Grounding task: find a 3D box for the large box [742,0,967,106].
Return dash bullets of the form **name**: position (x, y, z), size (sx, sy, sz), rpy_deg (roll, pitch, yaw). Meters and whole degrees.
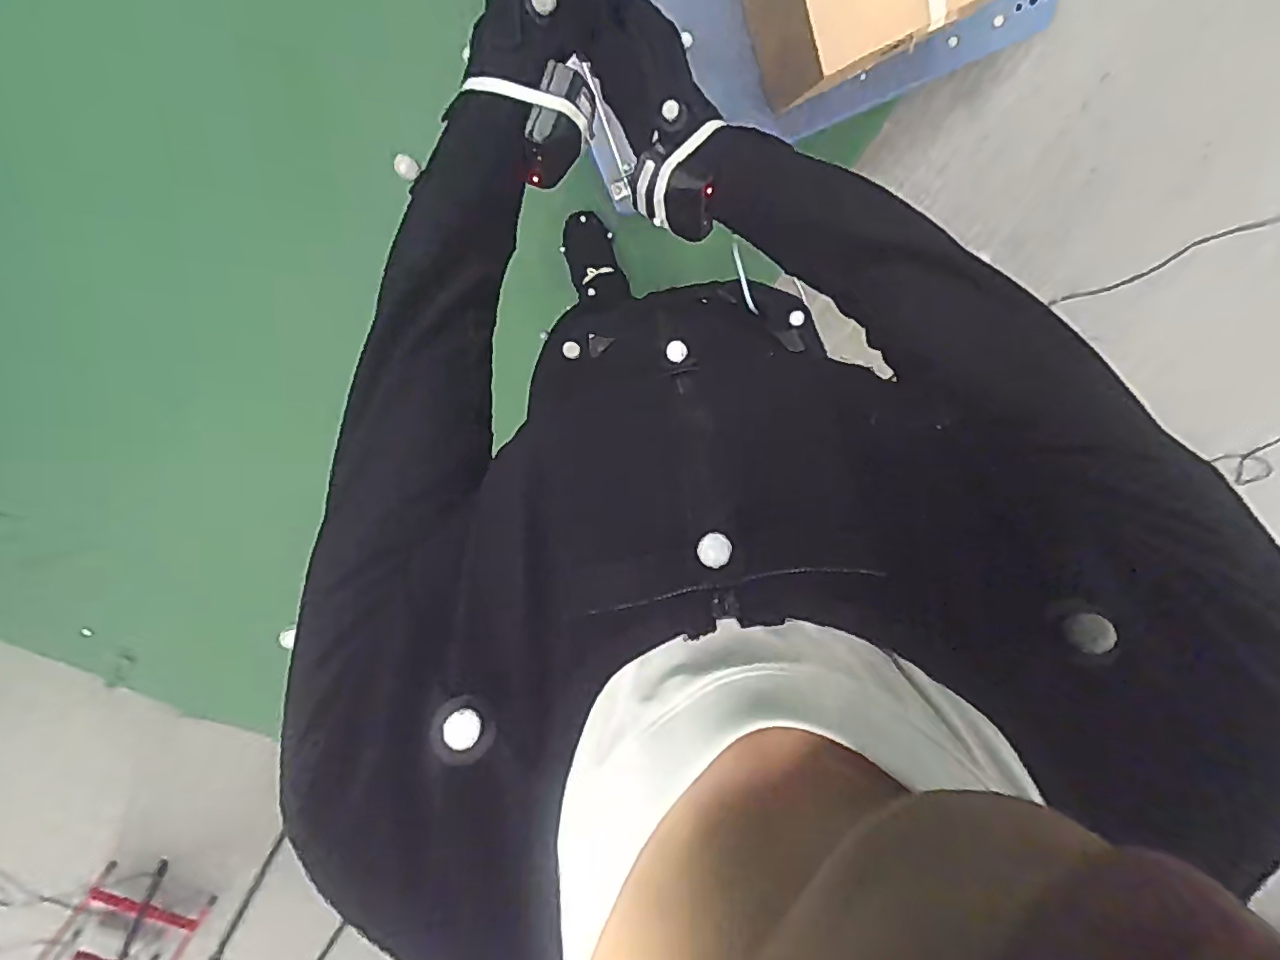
- **large box**: position (0.308, -0.862, 0.792), size (0.320, 0.320, 0.408), rpy_deg (-23, 114, 9)
